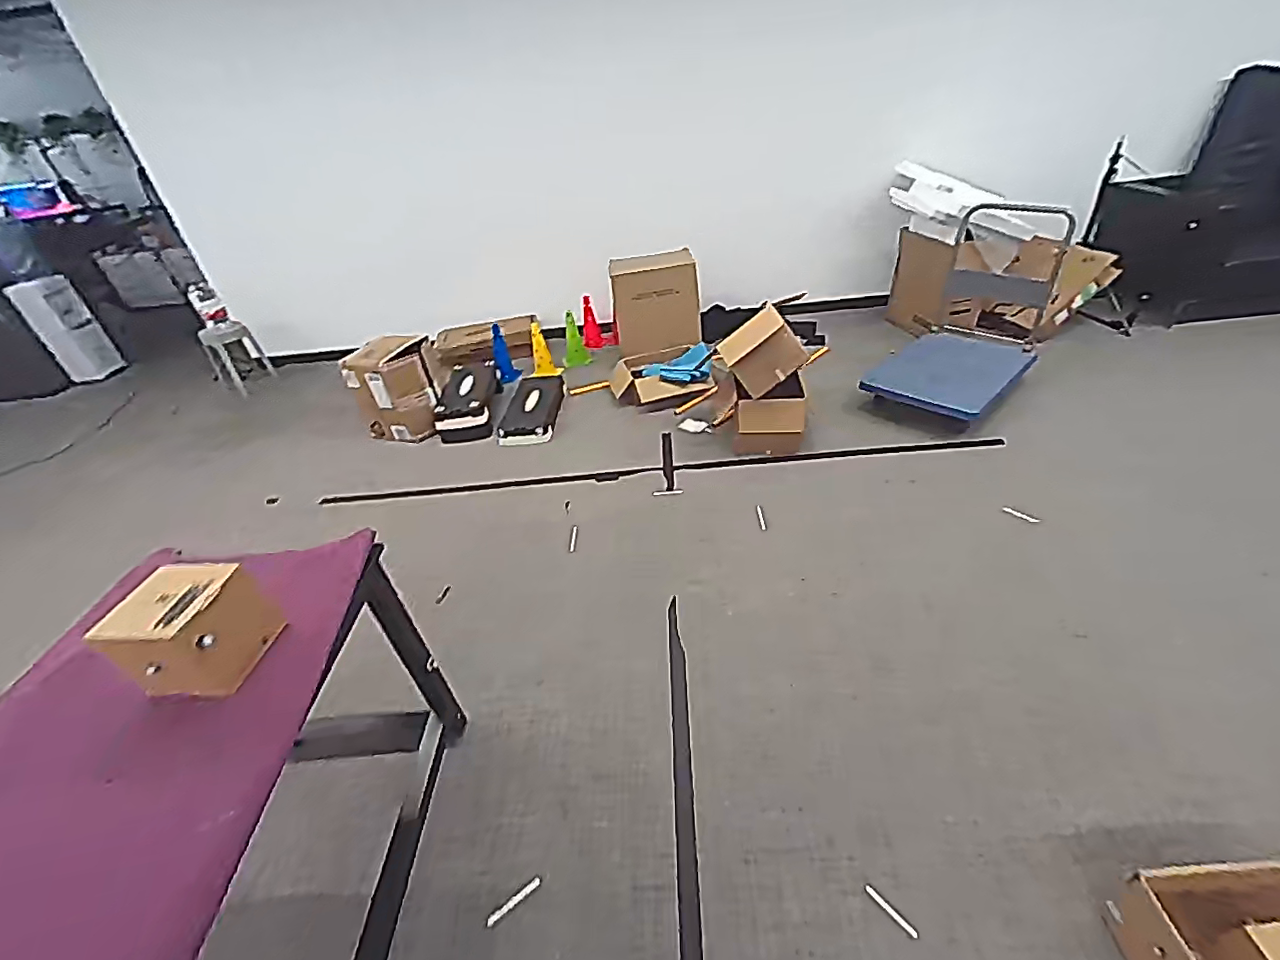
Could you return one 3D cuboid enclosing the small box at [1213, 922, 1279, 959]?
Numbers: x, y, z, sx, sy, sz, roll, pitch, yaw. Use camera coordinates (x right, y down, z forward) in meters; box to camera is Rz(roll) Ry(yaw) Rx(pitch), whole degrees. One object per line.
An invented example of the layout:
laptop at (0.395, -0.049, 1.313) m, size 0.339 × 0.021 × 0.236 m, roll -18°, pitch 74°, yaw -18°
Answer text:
small box at (1.179, 0.899, 0.946) m, size 0.179 × 0.176 × 0.168 m, roll -7°, pitch 37°, yaw 1°
